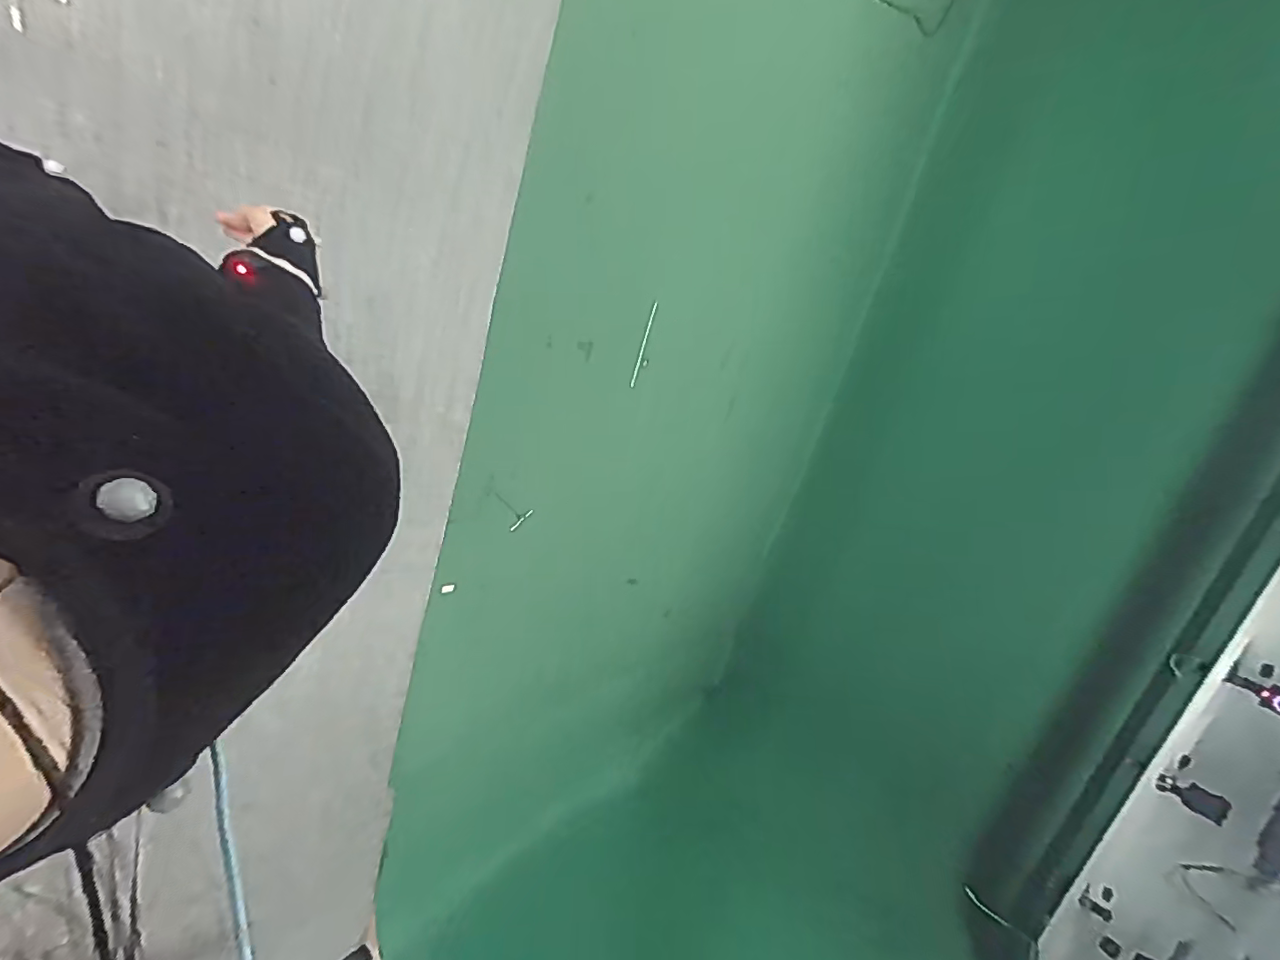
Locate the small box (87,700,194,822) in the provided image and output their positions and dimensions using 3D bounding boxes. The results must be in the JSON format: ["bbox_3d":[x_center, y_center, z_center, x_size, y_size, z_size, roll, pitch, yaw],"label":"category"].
[{"bbox_3d":[-1.245,0.690,1.347,0.179,0.176,0.168,-9,118,-51],"label":"small box"}]
